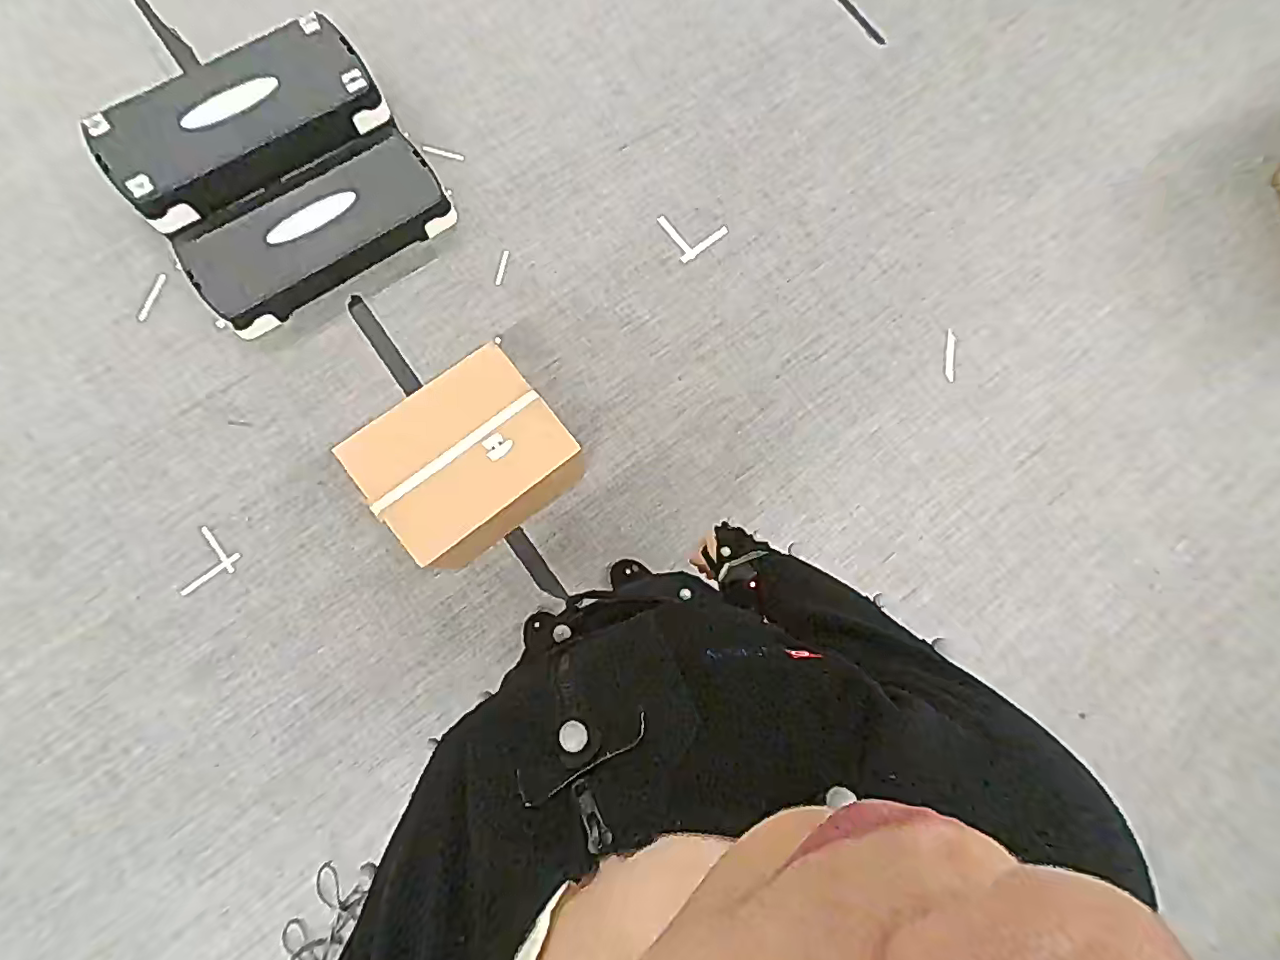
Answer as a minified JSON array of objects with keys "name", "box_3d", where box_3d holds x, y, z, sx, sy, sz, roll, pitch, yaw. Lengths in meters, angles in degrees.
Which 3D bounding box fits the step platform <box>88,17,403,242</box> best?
[{"name":"step platform","box_3d":[-1.009,-0.921,1.420,0.684,0.204,0.286,-31,84,-10]}]

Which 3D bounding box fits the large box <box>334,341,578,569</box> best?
[{"name":"large box","box_3d":[-0.395,-0.036,1.268,0.408,0.320,0.320,-39,86,-11]}]
